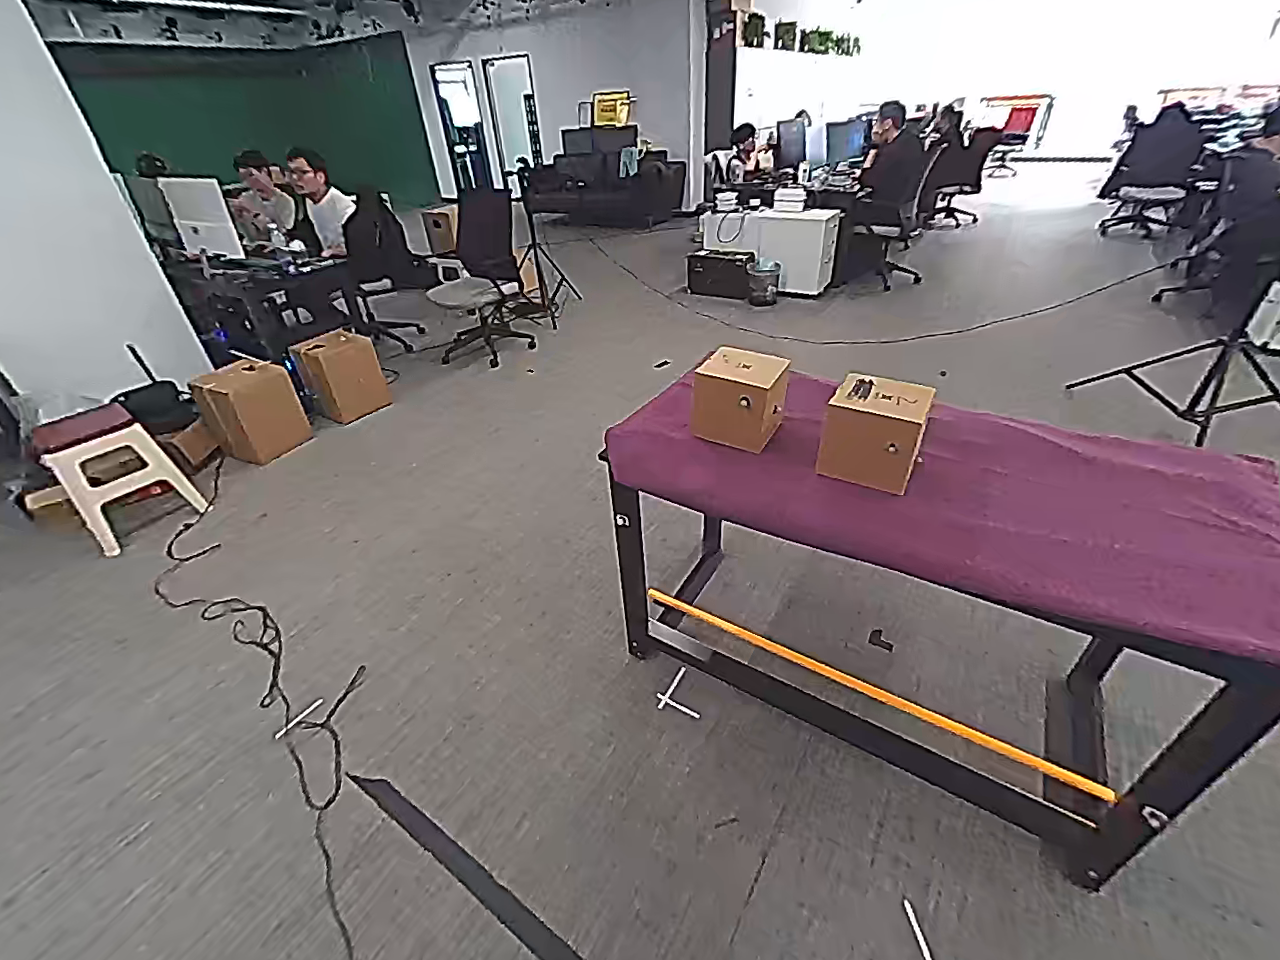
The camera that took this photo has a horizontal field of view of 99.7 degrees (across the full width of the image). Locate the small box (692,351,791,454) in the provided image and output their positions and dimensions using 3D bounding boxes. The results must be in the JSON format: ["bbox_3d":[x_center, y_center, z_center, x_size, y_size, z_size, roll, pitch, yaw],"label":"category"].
[{"bbox_3d":[0.235,-0.181,1.271,0.179,0.176,0.168,18,40,24],"label":"small box"}]
